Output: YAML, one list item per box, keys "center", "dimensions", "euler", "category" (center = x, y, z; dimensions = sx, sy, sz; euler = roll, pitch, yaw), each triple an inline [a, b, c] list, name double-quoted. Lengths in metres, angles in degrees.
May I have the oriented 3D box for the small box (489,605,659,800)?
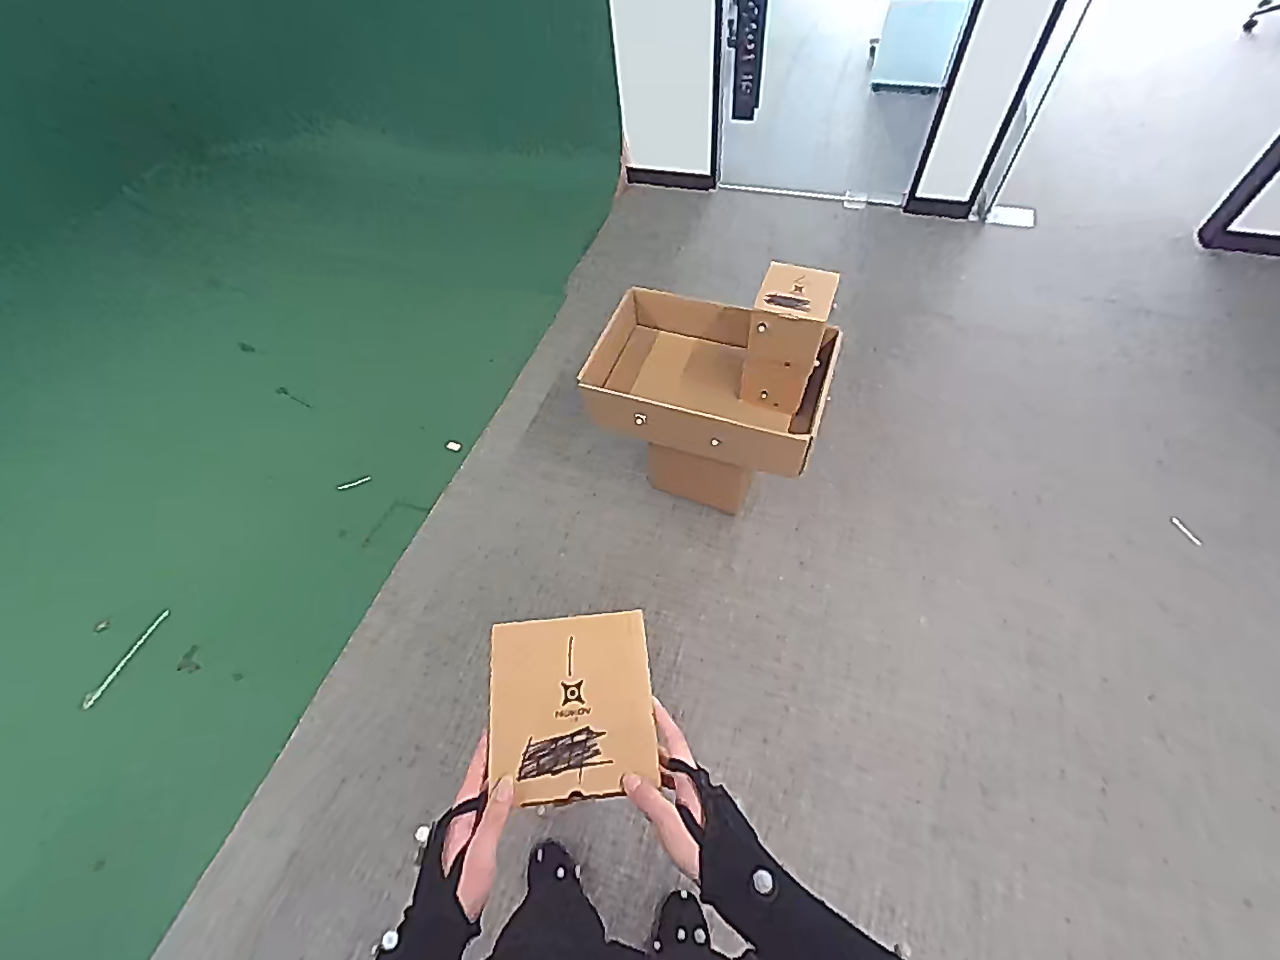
- center: [-0.069, 0.256, 0.620]
  dimensions: [0.168, 0.176, 0.179]
  euler: [-4, 61, -4]
  category: "small box"

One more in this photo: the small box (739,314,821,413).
- center: [0.369, -0.310, 1.450]
  dimensions: [0.168, 0.176, 0.179]
  euler: [17, 61, 14]
  category: "small box"
